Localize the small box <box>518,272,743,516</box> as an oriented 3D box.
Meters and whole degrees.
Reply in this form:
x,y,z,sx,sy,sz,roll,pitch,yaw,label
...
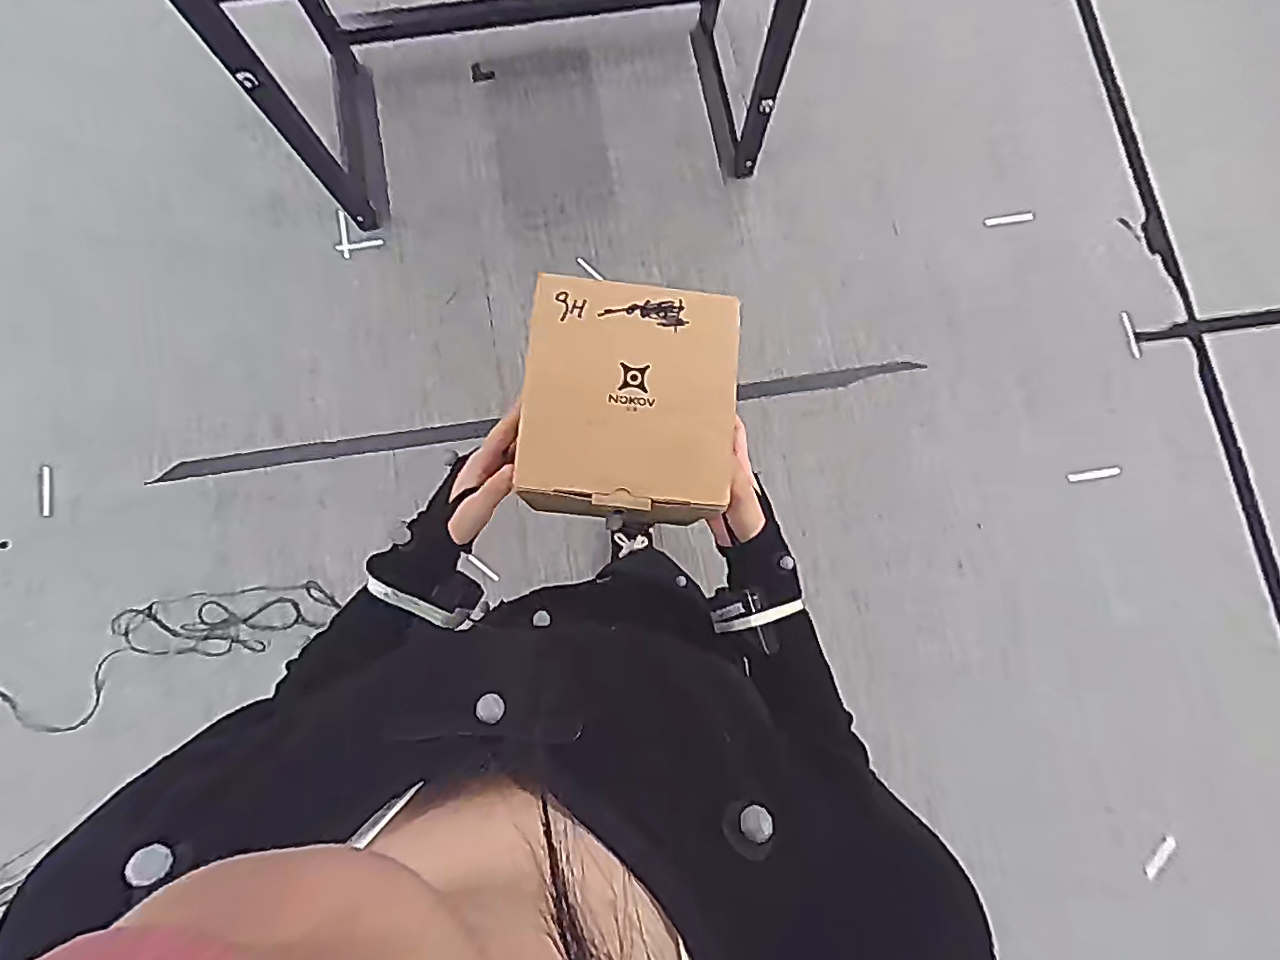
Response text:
x,y,z,sx,sy,sz,roll,pitch,yaw,label
-0.012,-0.062,0.503,0.168,0.176,0.179,6,81,-6,small box
